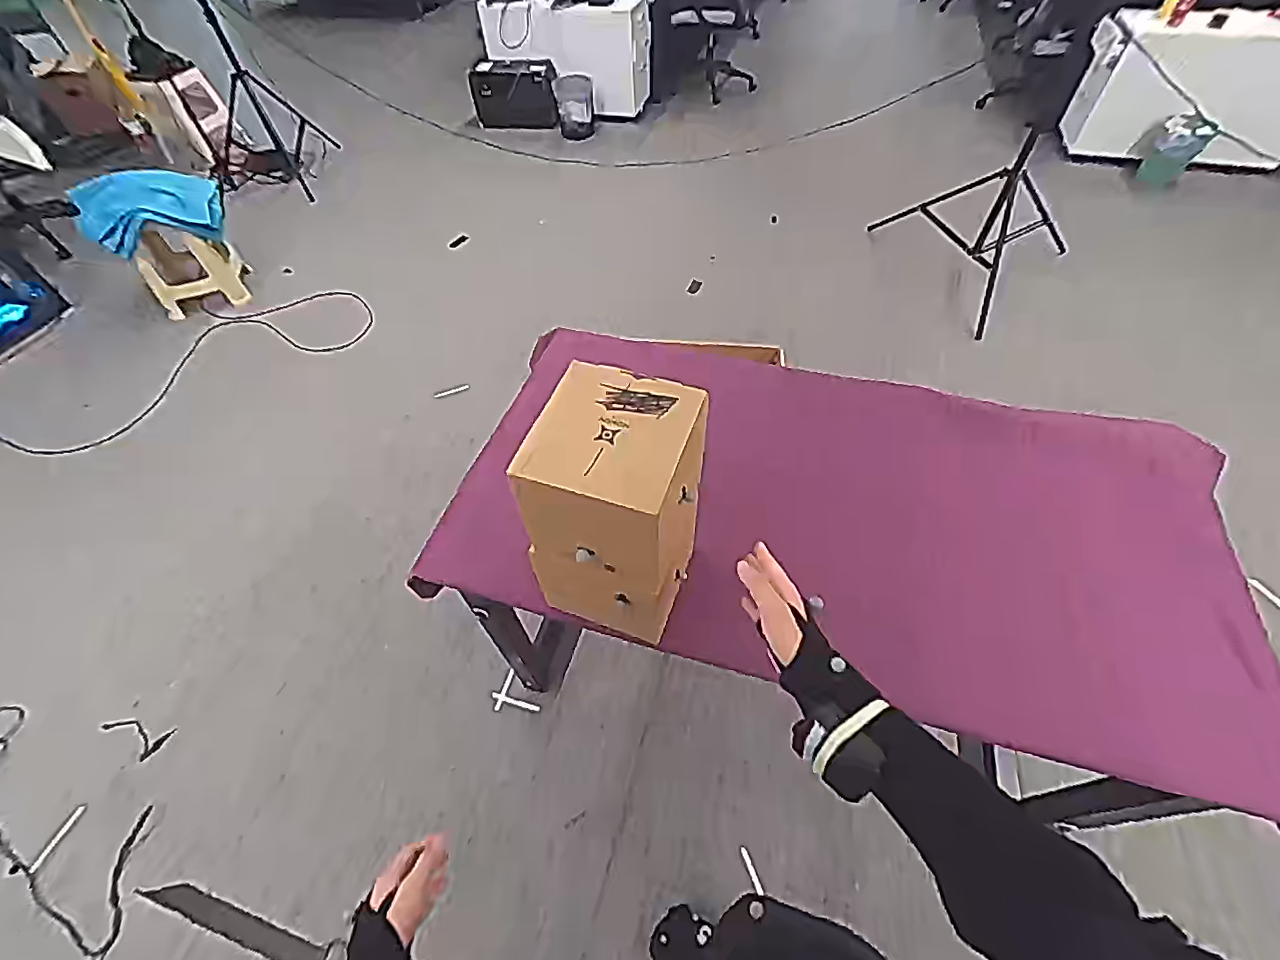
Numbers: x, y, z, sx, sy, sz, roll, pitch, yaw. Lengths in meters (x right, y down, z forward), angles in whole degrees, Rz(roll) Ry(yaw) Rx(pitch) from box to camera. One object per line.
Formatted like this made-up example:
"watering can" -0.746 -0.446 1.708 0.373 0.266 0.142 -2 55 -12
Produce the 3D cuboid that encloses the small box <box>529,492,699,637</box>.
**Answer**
"small box" -0.027 0.100 0.761 0.179 0.176 0.168 16 55 14

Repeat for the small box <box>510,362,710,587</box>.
"small box" -0.026 -0.004 0.633 0.168 0.176 0.179 15 56 13
